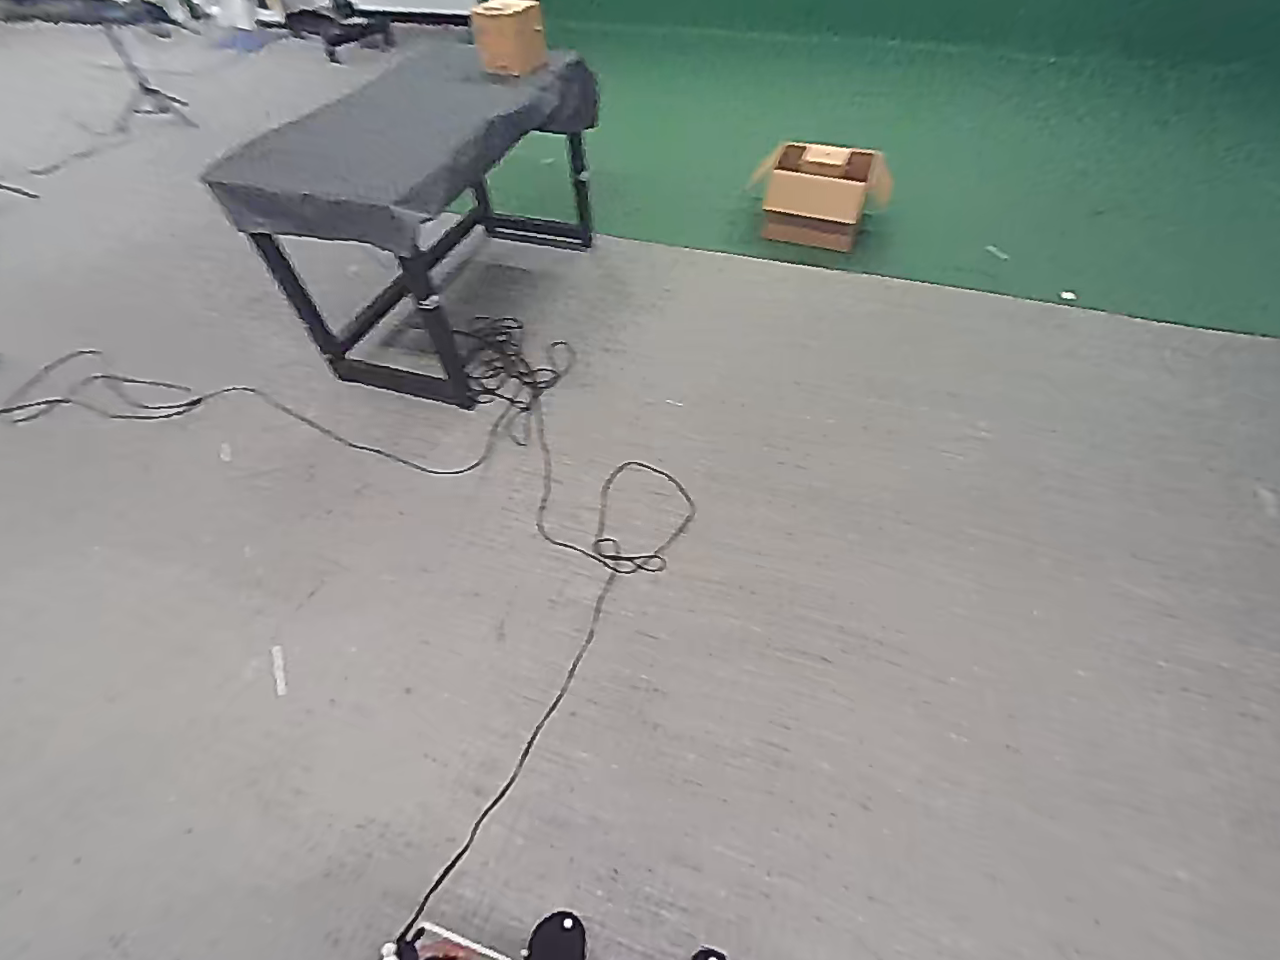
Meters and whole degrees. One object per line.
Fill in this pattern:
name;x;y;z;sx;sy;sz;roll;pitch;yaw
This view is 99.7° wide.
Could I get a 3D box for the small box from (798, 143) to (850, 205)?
small box;0.796;-1.330;2.350;0.168;0.176;0.179;18;55;15
